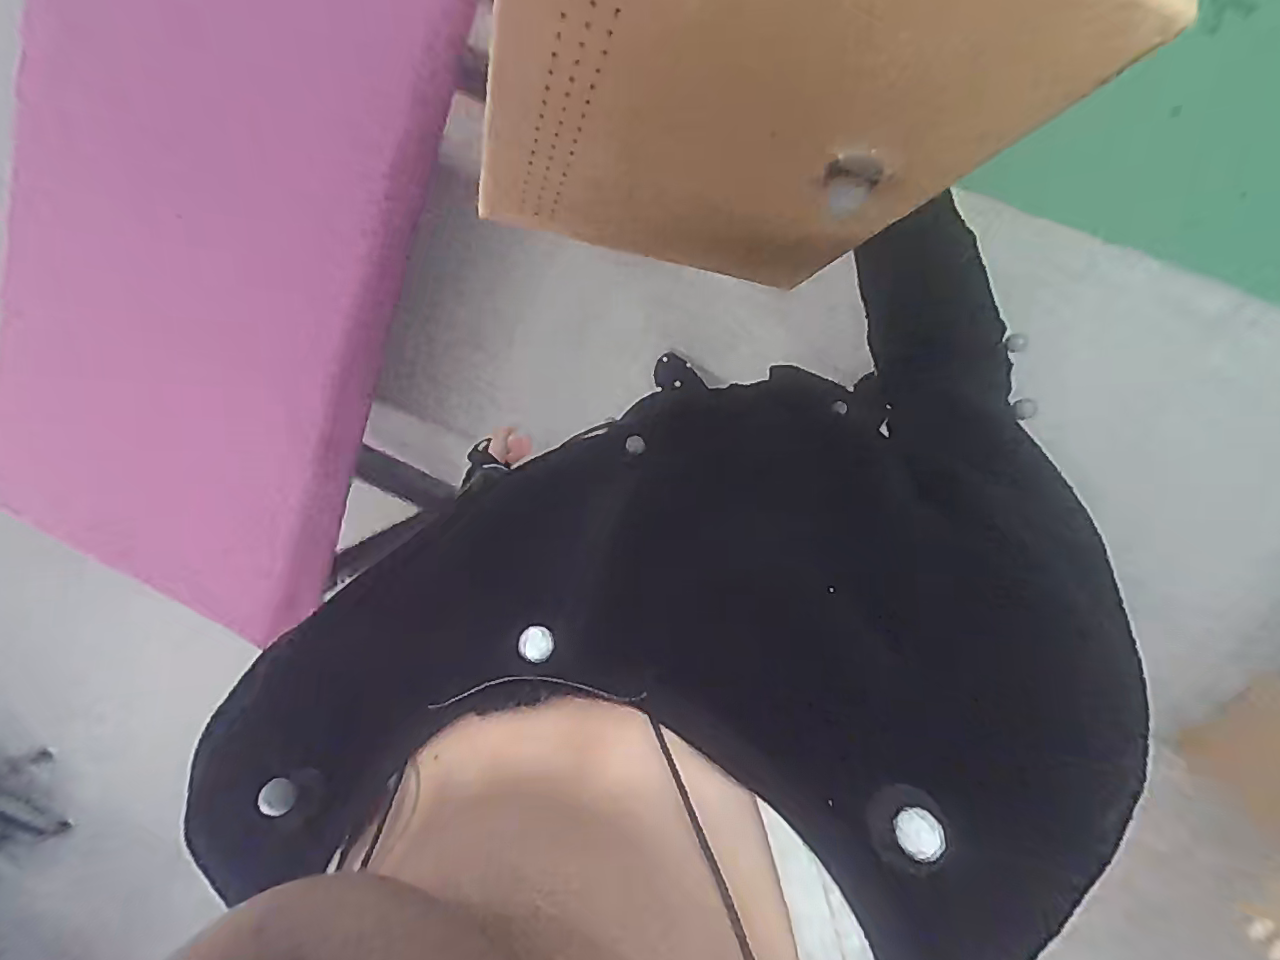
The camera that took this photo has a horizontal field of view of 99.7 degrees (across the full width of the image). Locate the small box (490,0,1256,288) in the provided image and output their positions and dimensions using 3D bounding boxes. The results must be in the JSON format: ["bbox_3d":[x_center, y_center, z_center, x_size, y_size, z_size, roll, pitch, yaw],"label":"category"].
[{"bbox_3d":[0.045,-0.193,0.185,0.176,0.179,0.168,7,85,-19],"label":"small box"}]
